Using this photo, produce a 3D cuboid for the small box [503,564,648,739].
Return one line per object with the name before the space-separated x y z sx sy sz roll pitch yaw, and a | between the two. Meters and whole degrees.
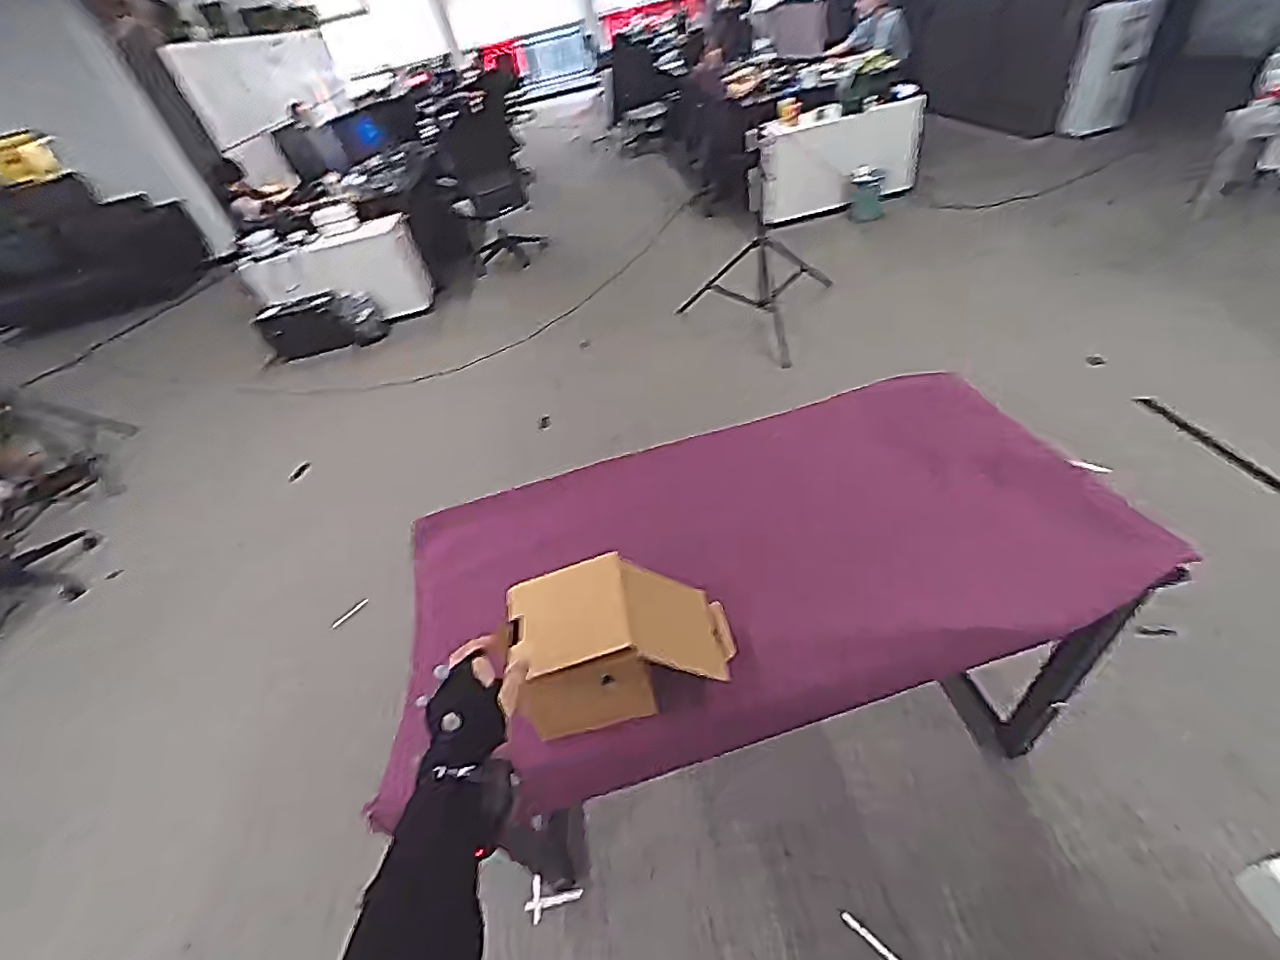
small box | -0.090 0.257 0.806 0.179 0.176 0.168 -14 40 0
